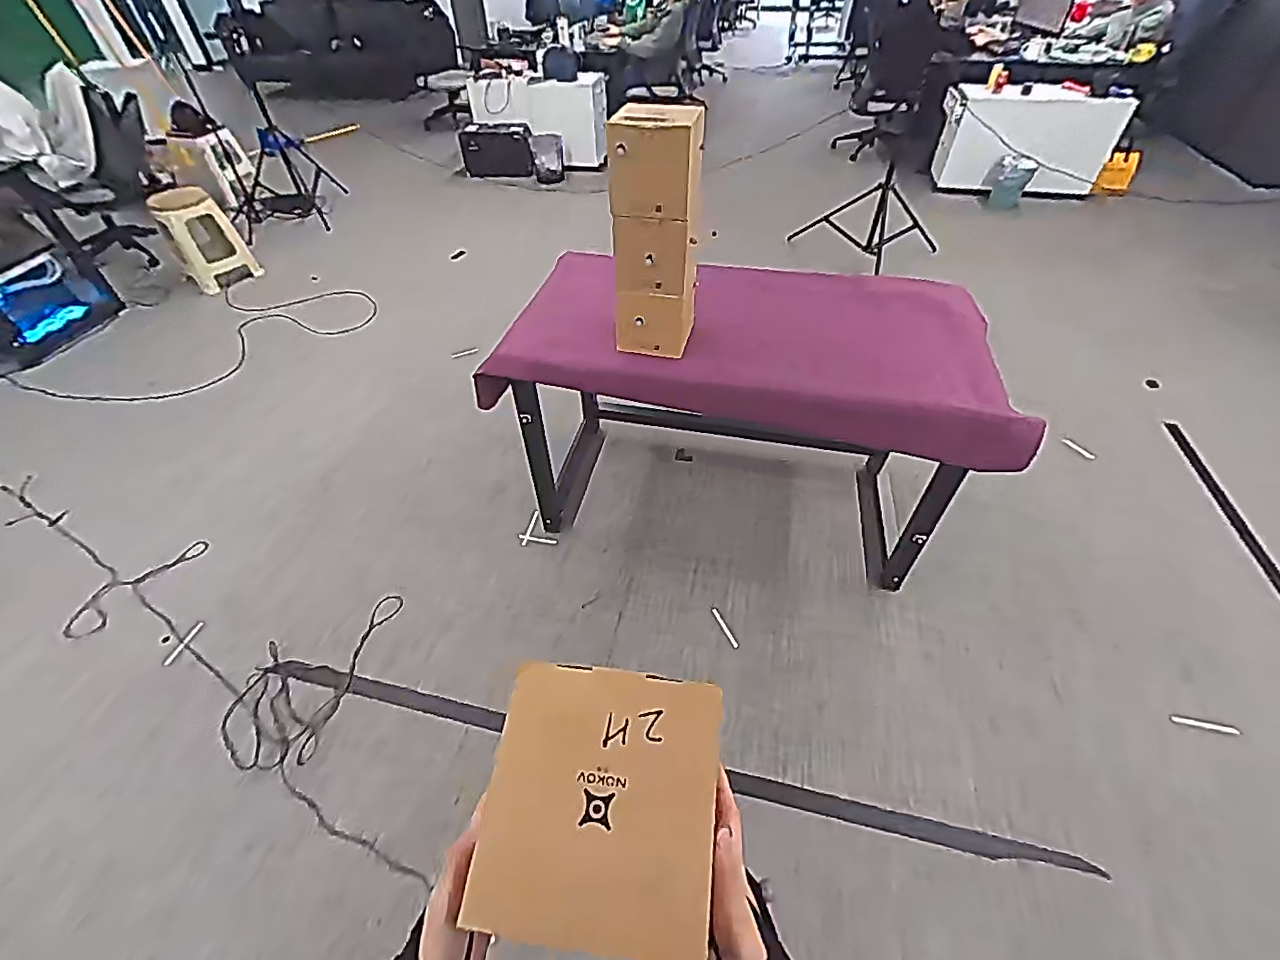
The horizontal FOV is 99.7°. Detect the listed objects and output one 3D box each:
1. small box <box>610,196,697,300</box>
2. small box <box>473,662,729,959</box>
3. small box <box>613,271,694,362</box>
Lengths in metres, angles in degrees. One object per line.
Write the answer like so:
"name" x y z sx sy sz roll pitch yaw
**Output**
"small box" 0.035 -0.535 1.249 0.168 0.176 0.179 8 47 8
"small box" -0.017 0.273 0.462 0.168 0.176 0.179 5 58 6
"small box" 0.038 -0.416 1.362 0.168 0.176 0.179 10 46 10
